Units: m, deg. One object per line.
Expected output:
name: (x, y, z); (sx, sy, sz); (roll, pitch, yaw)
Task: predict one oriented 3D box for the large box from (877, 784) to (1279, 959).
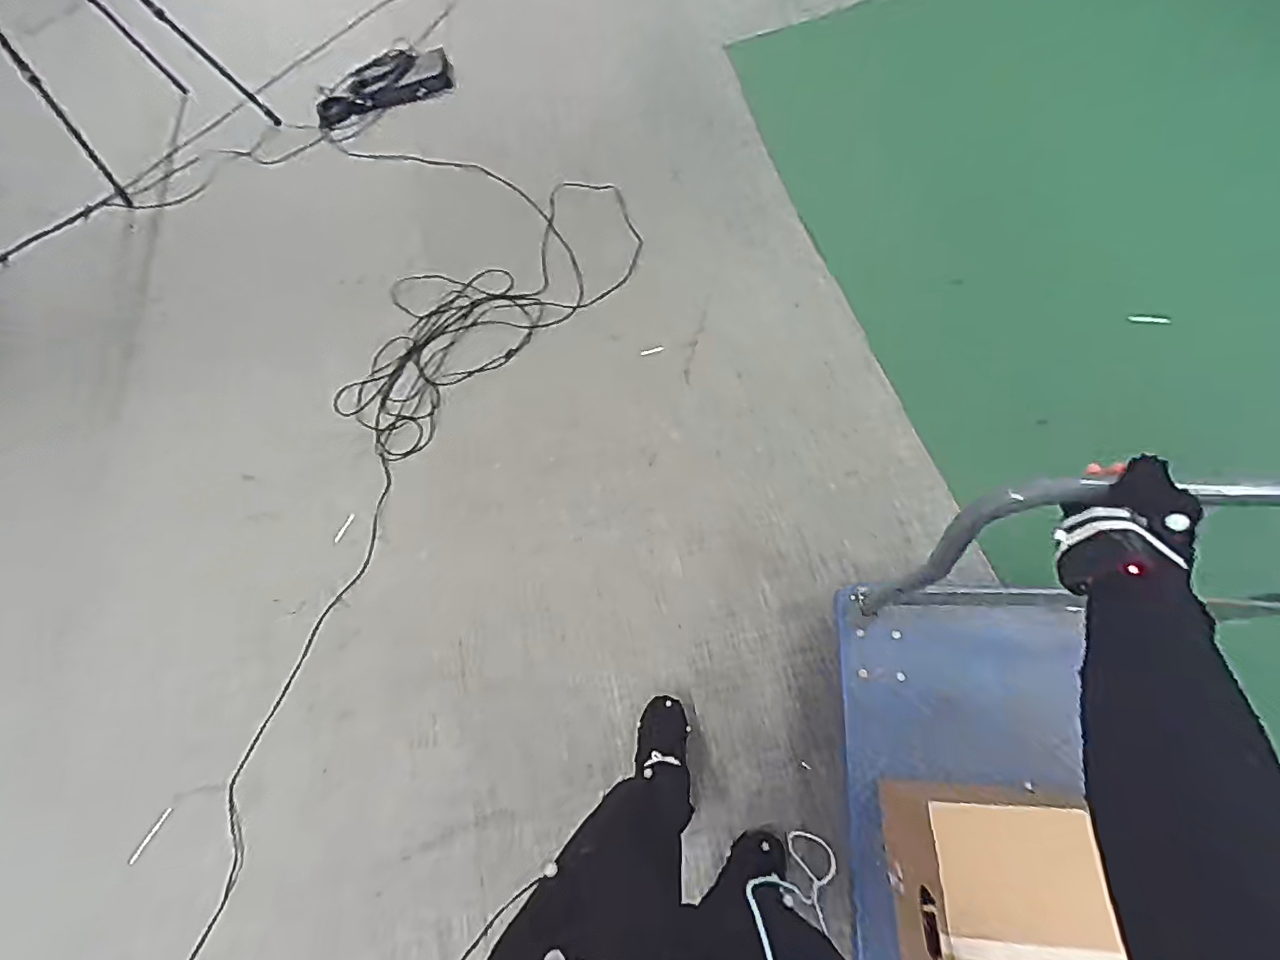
large box: (0.609, 0.630, 0.782); (0.408, 0.320, 0.320); (-3, 66, 9)
